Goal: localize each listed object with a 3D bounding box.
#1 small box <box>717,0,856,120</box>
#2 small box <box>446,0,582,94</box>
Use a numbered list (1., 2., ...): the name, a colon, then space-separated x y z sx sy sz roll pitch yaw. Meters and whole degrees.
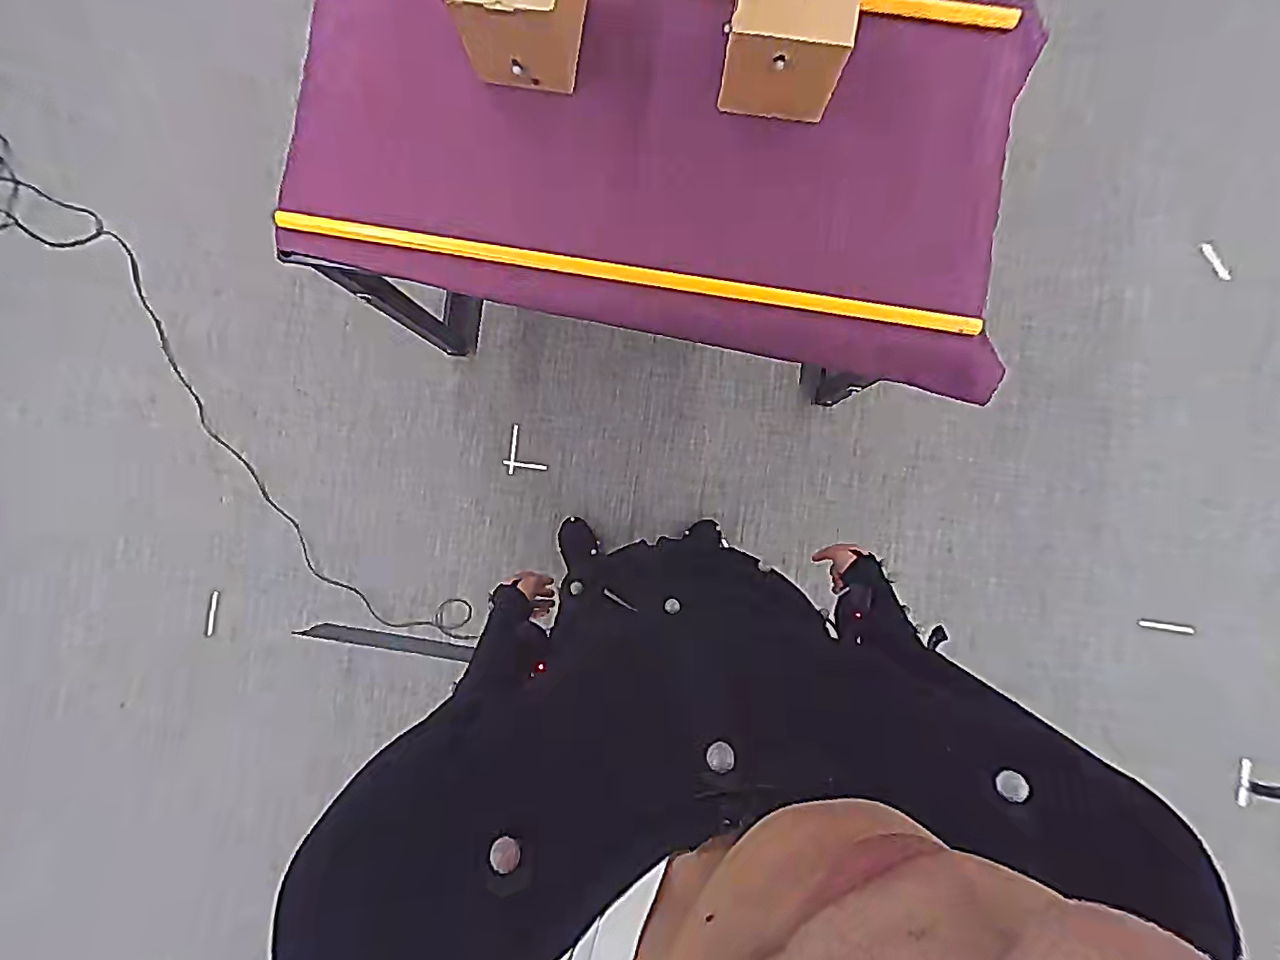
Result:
1. small box: 0.226 -0.703 0.846 0.179 0.176 0.168 9 90 3
2. small box: -0.192 -0.768 0.861 0.168 0.176 0.179 9 91 2
